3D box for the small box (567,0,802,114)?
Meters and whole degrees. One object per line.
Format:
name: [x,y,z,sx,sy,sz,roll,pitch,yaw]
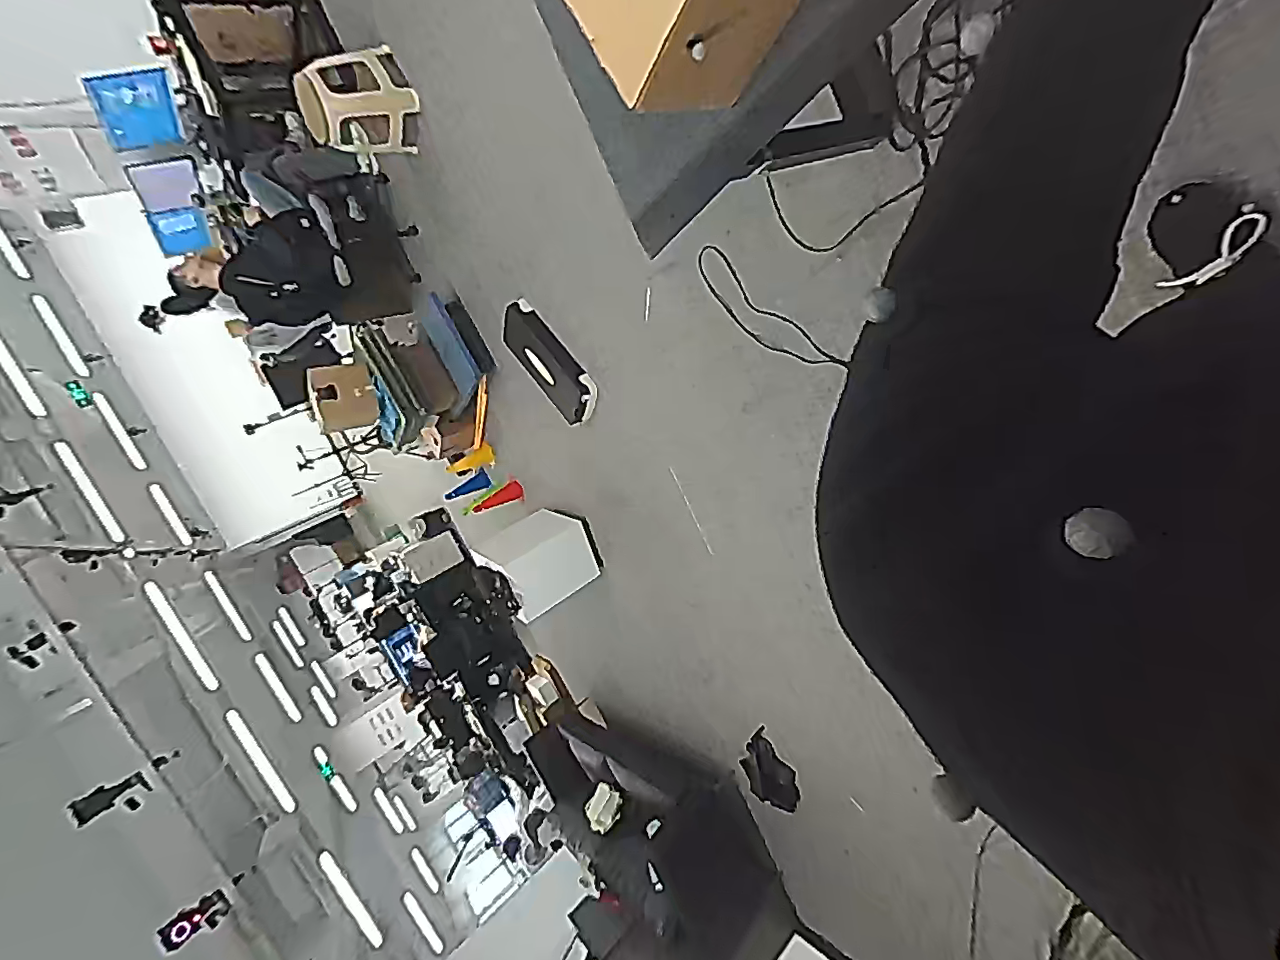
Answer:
small box: [0.053,-0.526,0.560,0.168,0.176,0.179,60,149,2]
